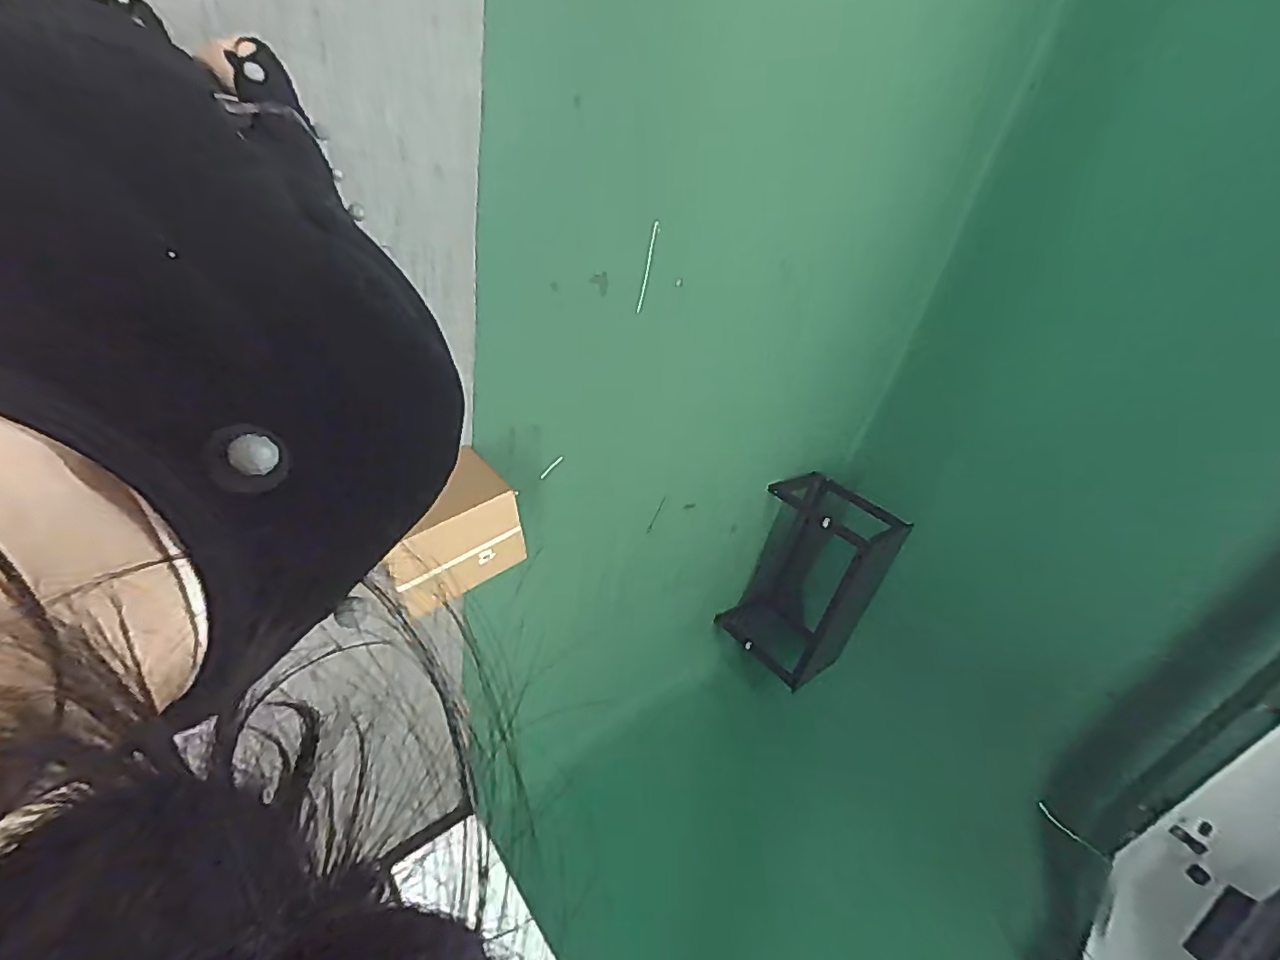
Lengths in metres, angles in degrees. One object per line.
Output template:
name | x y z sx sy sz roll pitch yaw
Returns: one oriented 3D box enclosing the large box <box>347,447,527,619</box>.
large box | -0.630 0.152 1.717 0.408 0.320 0.320 -29 138 -30
